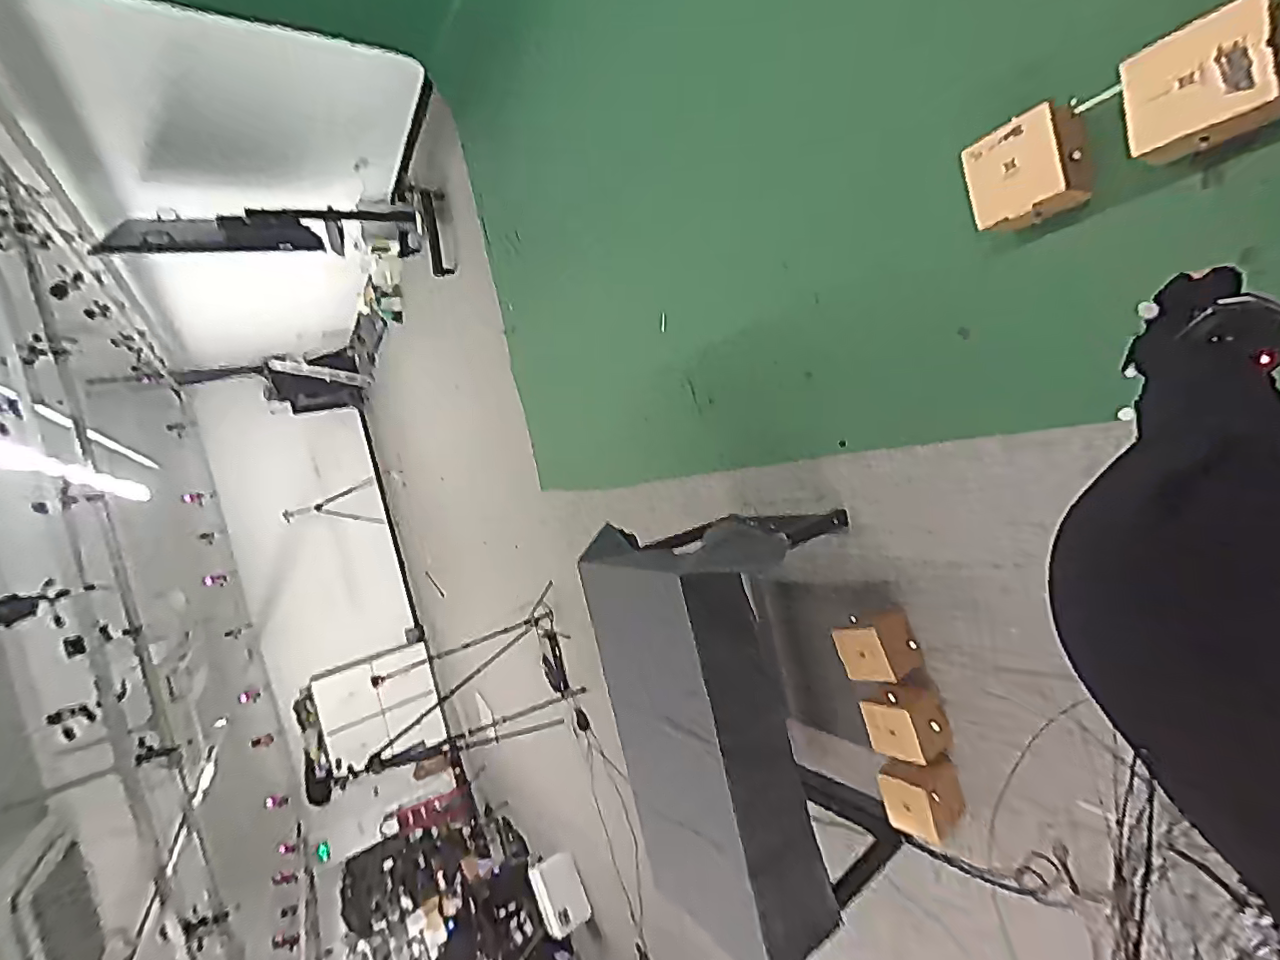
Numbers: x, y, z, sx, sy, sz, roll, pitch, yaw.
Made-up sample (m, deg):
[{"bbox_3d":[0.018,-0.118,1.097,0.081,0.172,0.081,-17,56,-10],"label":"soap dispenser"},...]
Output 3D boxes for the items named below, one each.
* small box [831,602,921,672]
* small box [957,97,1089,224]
[{"bbox_3d":[0.759,0.502,1.741,0.179,0.176,0.168,-30,79,57],"label":"small box"},{"bbox_3d":[0.816,-0.669,1.150,0.168,0.176,0.179,-10,96,57],"label":"small box"}]
